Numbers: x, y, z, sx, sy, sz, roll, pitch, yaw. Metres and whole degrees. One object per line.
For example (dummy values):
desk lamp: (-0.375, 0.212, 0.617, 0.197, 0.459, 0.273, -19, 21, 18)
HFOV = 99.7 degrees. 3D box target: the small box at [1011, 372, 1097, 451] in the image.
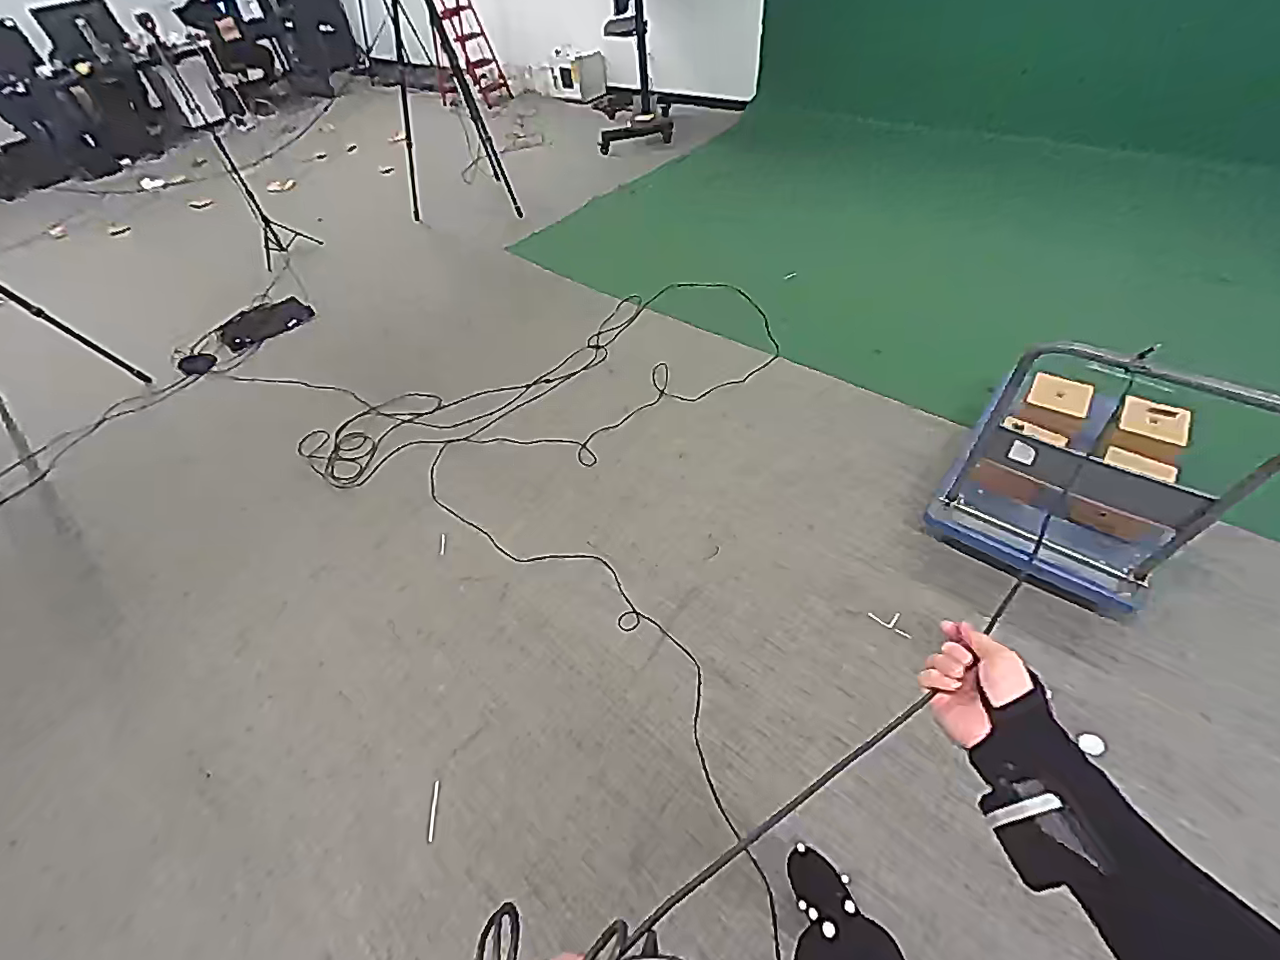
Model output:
small box: (1.381, -0.228, 1.812, 0.168, 0.176, 0.179, 26, 57, 26)

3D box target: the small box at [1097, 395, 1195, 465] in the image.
small box: (1.585, -0.133, 1.700, 0.168, 0.176, 0.179, 25, 58, 27)

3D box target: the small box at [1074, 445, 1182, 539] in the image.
small box: (1.415, 0.037, 1.577, 0.168, 0.176, 0.179, 30, 60, 29)
